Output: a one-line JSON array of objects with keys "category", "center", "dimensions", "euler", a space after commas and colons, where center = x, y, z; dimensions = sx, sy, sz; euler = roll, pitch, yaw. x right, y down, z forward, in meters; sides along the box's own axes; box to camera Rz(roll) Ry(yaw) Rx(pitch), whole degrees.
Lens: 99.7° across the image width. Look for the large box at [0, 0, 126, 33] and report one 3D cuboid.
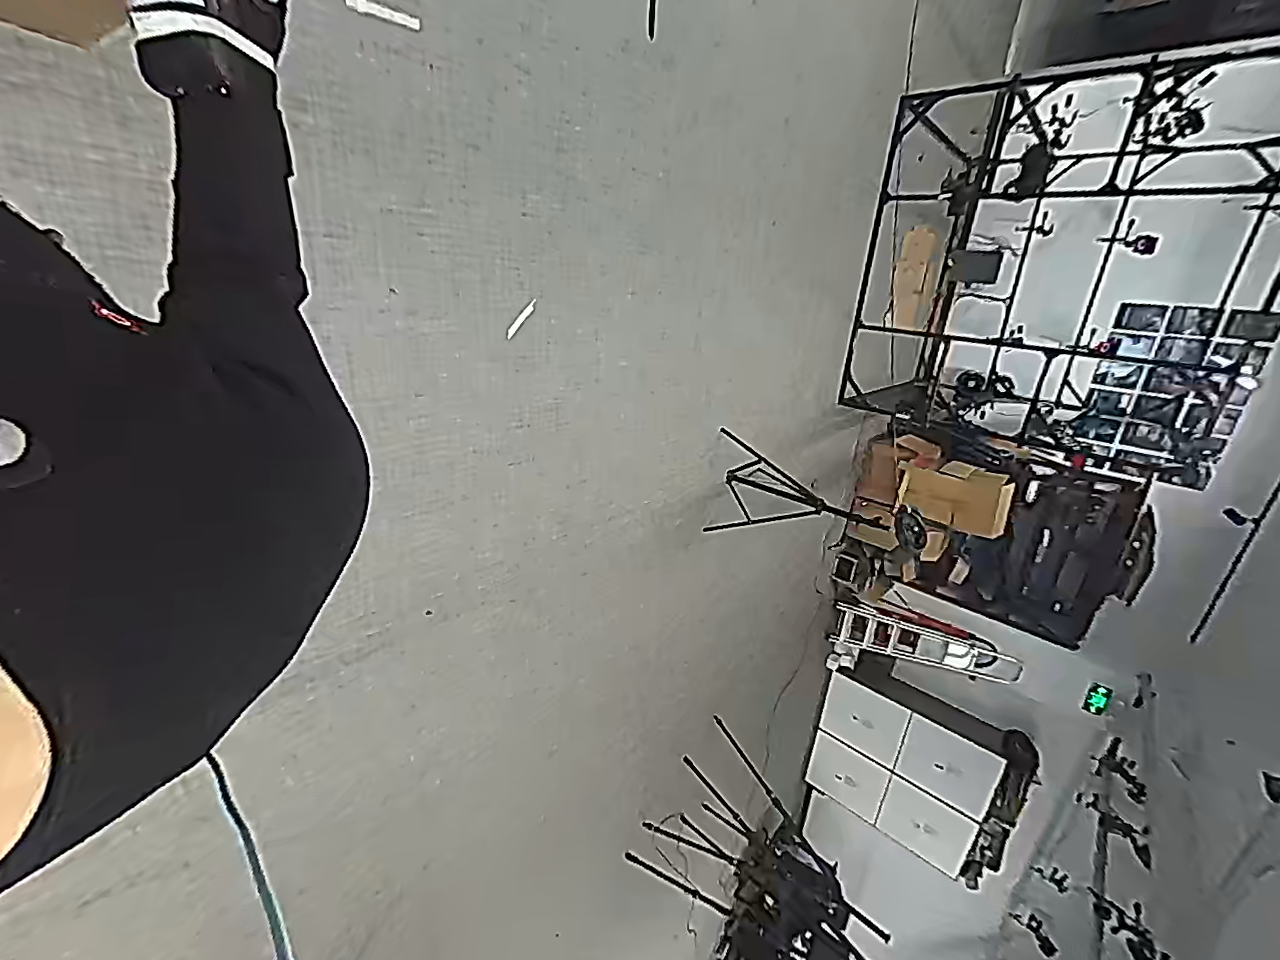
[{"category": "large box", "center": [-0.526, -0.504, 0.249], "dimensions": [0.408, 0.320, 0.320], "euler": [-12, 118, -53]}]
